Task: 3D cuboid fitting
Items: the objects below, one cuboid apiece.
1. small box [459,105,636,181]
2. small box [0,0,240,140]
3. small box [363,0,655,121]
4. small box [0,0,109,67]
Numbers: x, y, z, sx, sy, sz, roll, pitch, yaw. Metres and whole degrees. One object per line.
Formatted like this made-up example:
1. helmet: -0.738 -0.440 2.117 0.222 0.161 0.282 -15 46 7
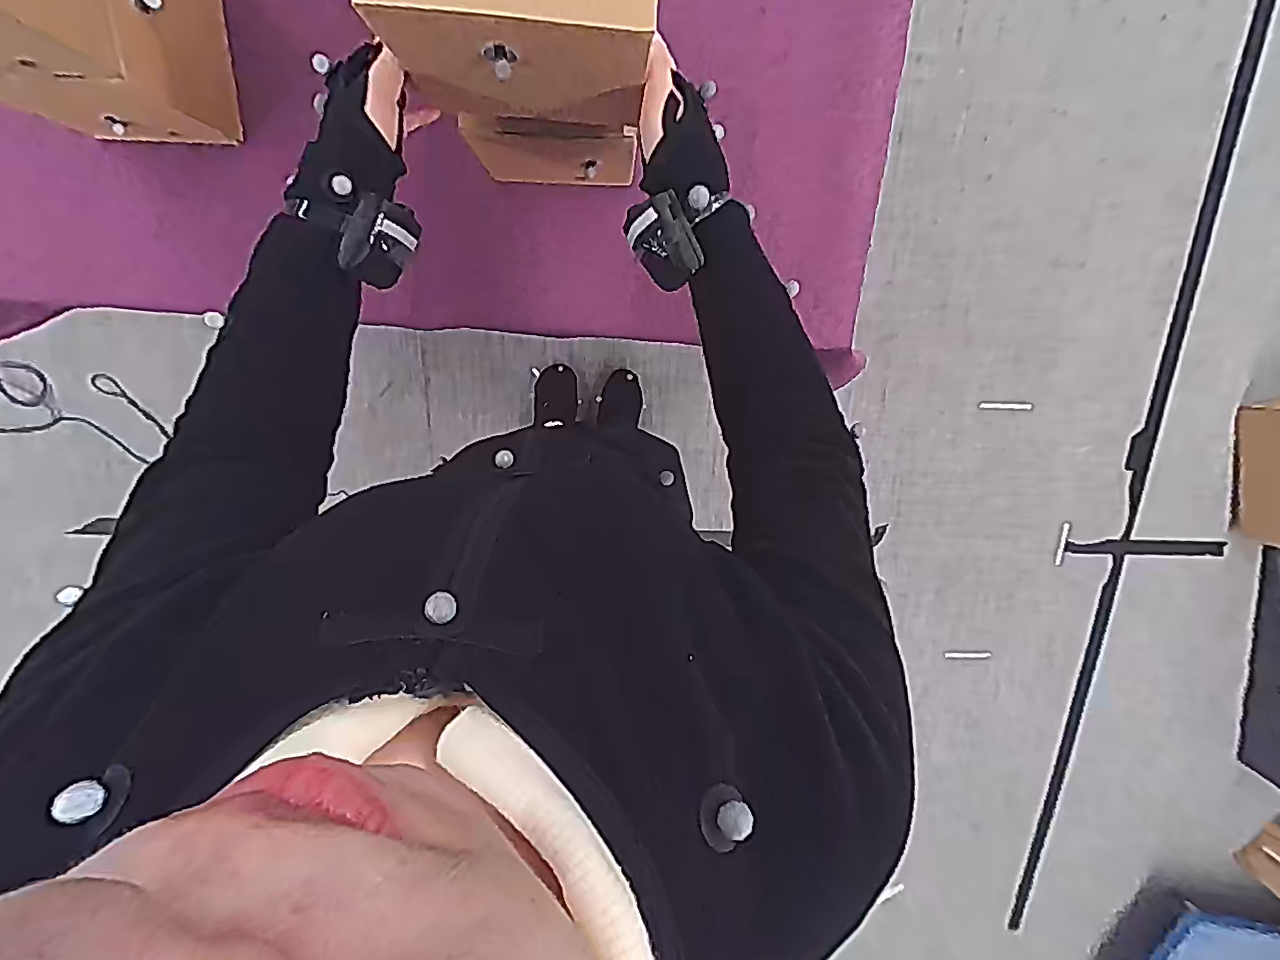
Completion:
1. small box: -0.084 -0.422 0.553 0.168 0.176 0.179 1 105 -4
2. small box: -0.531 -0.456 0.520 0.168 0.176 0.179 0 107 -4
3. small box: -0.077 -0.368 0.366 0.179 0.176 0.168 2 107 -5
4. small box: -0.523 -0.412 0.362 0.168 0.176 0.179 -1 106 -4
